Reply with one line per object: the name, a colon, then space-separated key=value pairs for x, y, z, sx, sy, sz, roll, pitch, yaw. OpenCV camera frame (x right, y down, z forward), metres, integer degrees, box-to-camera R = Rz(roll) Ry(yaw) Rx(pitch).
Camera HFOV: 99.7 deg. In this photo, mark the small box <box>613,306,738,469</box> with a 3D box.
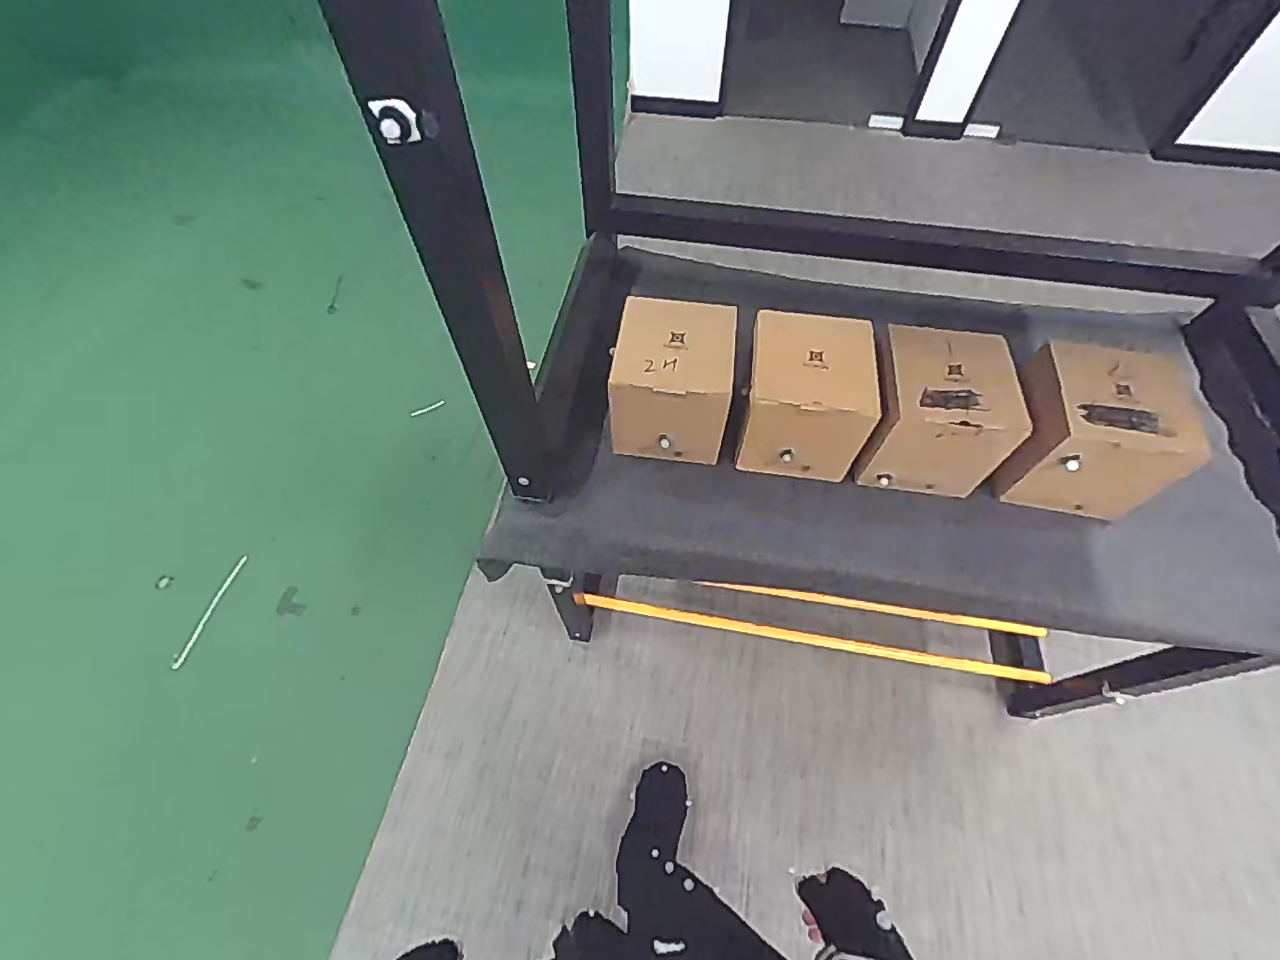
small box: x=0.054 y=-0.141 z=0.842 sx=0.168 sy=0.176 sz=0.179 roll=6 pitch=58 yaw=4
